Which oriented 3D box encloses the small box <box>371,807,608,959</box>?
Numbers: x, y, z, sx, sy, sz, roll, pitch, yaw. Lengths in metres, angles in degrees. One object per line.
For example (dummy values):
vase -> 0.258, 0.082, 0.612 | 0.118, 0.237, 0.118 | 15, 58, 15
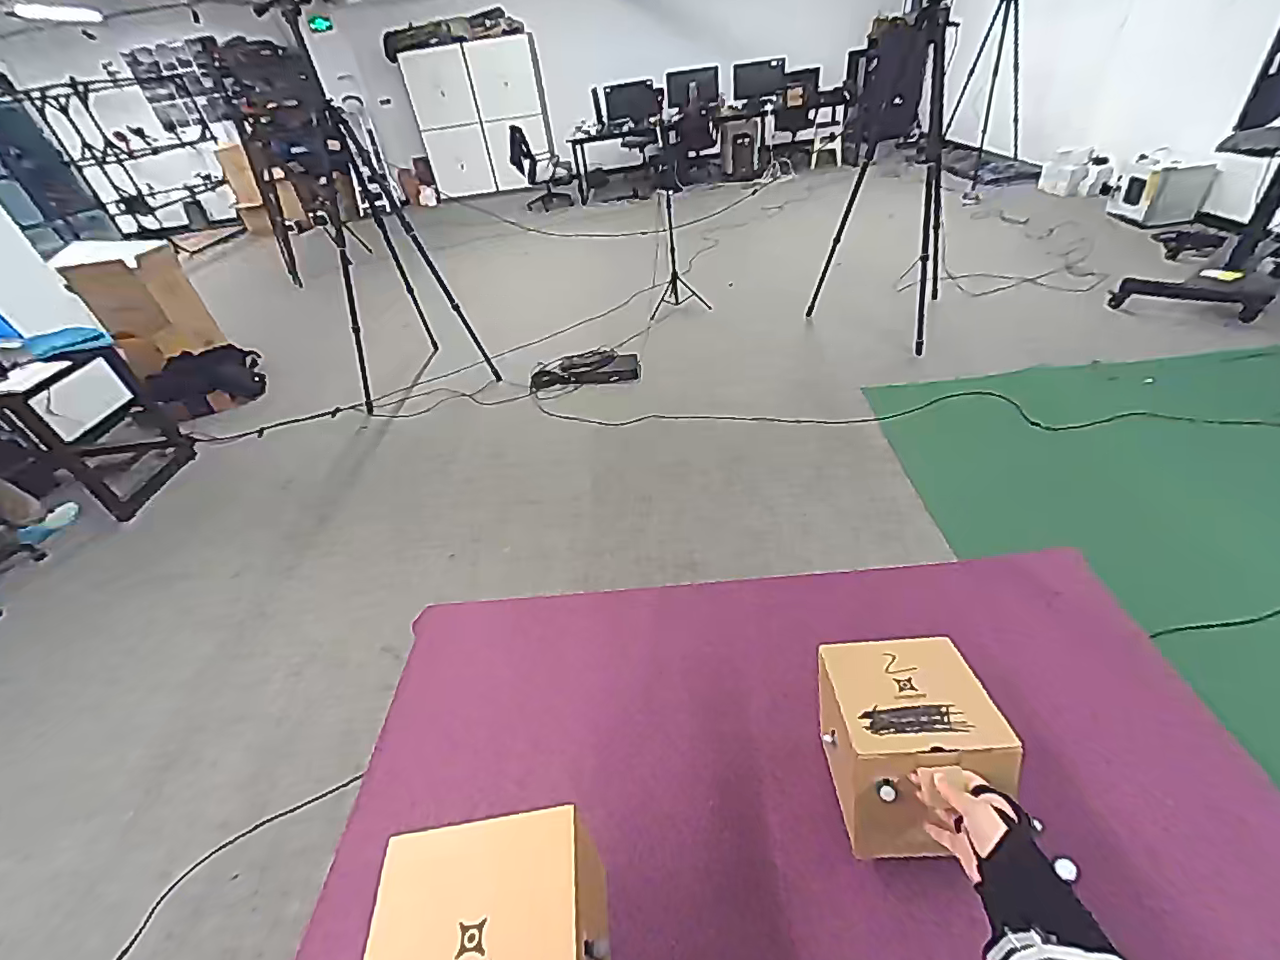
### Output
small box -> -0.121, 0.424, 0.473 | 0.168, 0.176, 0.179 | -9, 39, -1
